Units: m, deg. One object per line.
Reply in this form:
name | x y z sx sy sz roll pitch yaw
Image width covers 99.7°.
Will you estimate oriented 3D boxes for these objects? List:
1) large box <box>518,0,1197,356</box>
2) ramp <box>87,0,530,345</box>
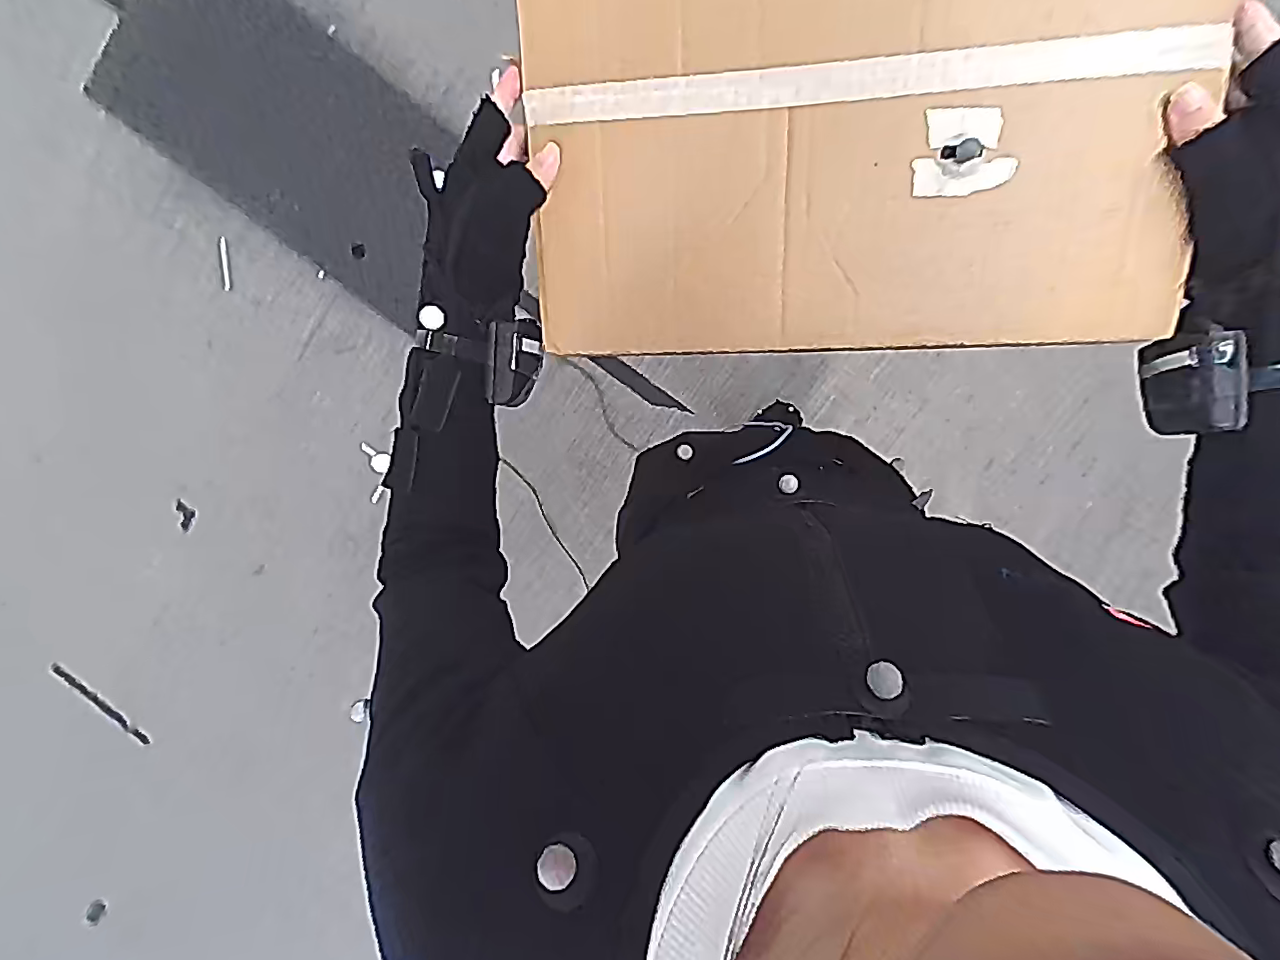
large box | 0.136 -0.284 0.482 0.408 0.320 0.320 -1 105 6
ramp | -0.815 -0.847 1.371 0.991 0.206 0.509 37 98 1
